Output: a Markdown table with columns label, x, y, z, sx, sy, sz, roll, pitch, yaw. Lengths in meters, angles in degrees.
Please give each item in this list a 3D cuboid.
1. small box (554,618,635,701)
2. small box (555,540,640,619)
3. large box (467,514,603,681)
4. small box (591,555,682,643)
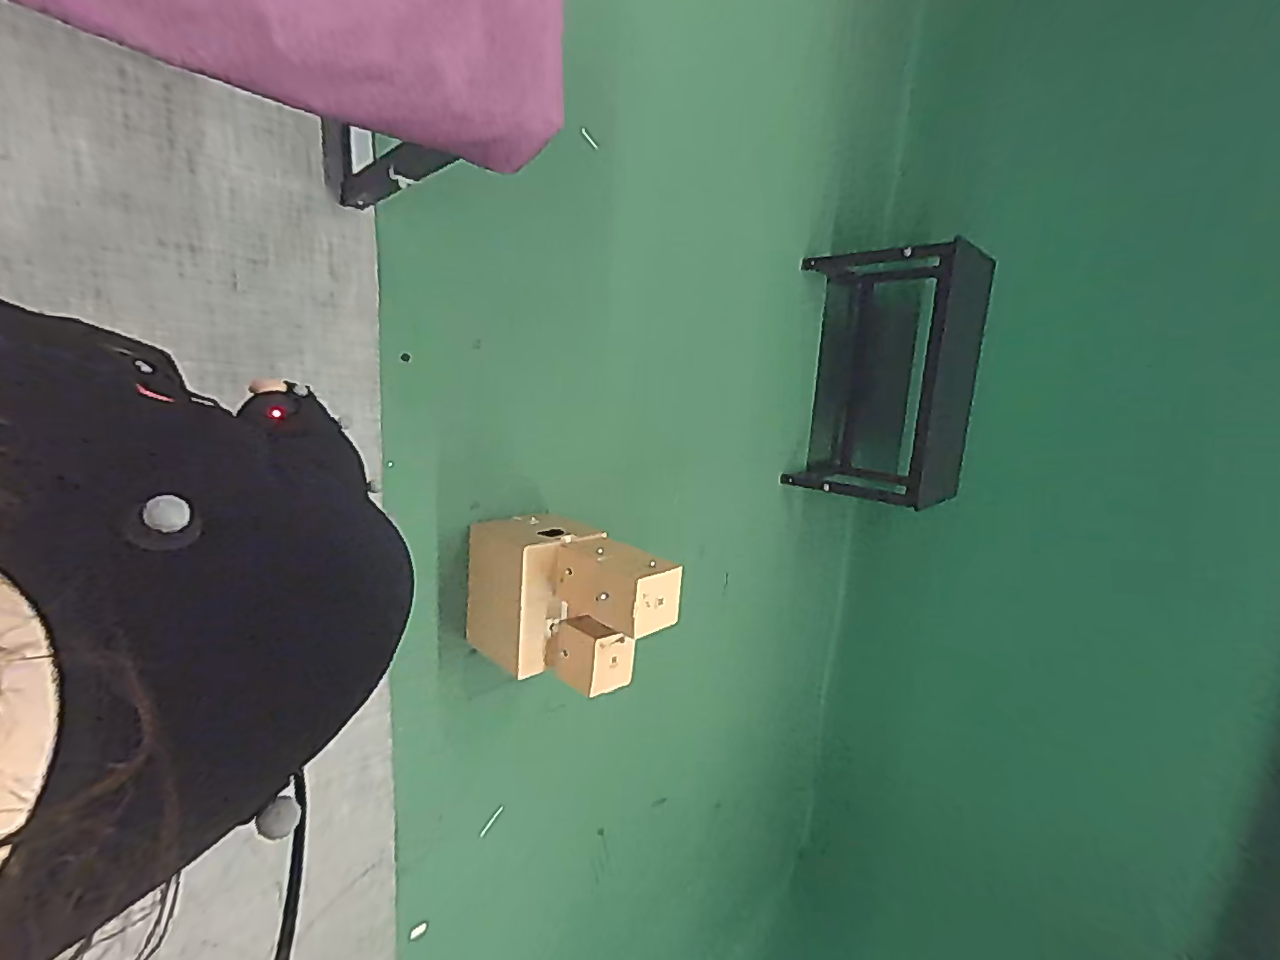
| label | x | y | z | sx | sy | sz | roll | pitch | yaw |
| --- | --- | --- | --- | --- | --- | --- | --- | --- | --- |
| small box | -0.139 | 0.528 | 1.622 | 0.168 | 0.176 | 0.179 | 2 | 97 | -47 |
| small box | -0.126 | 0.283 | 1.581 | 0.179 | 0.176 | 0.168 | -5 | 104 | -45 |
| large box | -0.341 | 0.350 | 1.728 | 0.320 | 0.320 | 0.408 | -5 | 104 | -45 |
| small box | -0.011 | 0.313 | 1.467 | 0.179 | 0.176 | 0.168 | -6 | 104 | -45 |
